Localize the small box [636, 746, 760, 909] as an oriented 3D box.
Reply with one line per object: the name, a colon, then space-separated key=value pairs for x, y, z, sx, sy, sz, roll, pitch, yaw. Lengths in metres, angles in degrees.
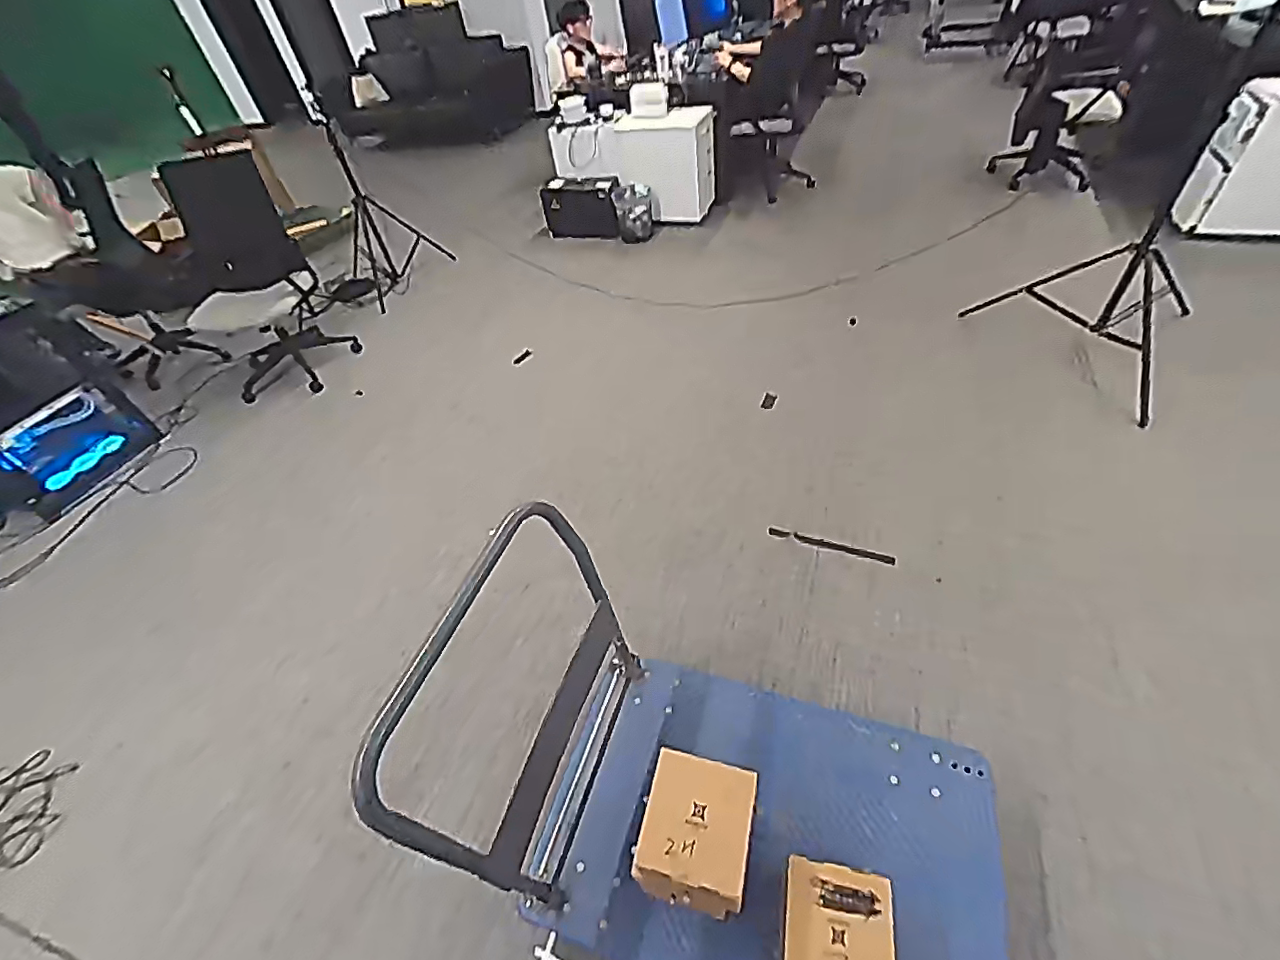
small box: x=0.103 y=0.582 z=0.906 sx=0.168 sy=0.176 sz=0.179 roll=8 pitch=49 yaw=16

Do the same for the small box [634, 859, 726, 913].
small box: x=0.097 y=0.690 z=1.032 sx=0.168 sy=0.176 sz=0.179 roll=7 pitch=49 yaw=16
